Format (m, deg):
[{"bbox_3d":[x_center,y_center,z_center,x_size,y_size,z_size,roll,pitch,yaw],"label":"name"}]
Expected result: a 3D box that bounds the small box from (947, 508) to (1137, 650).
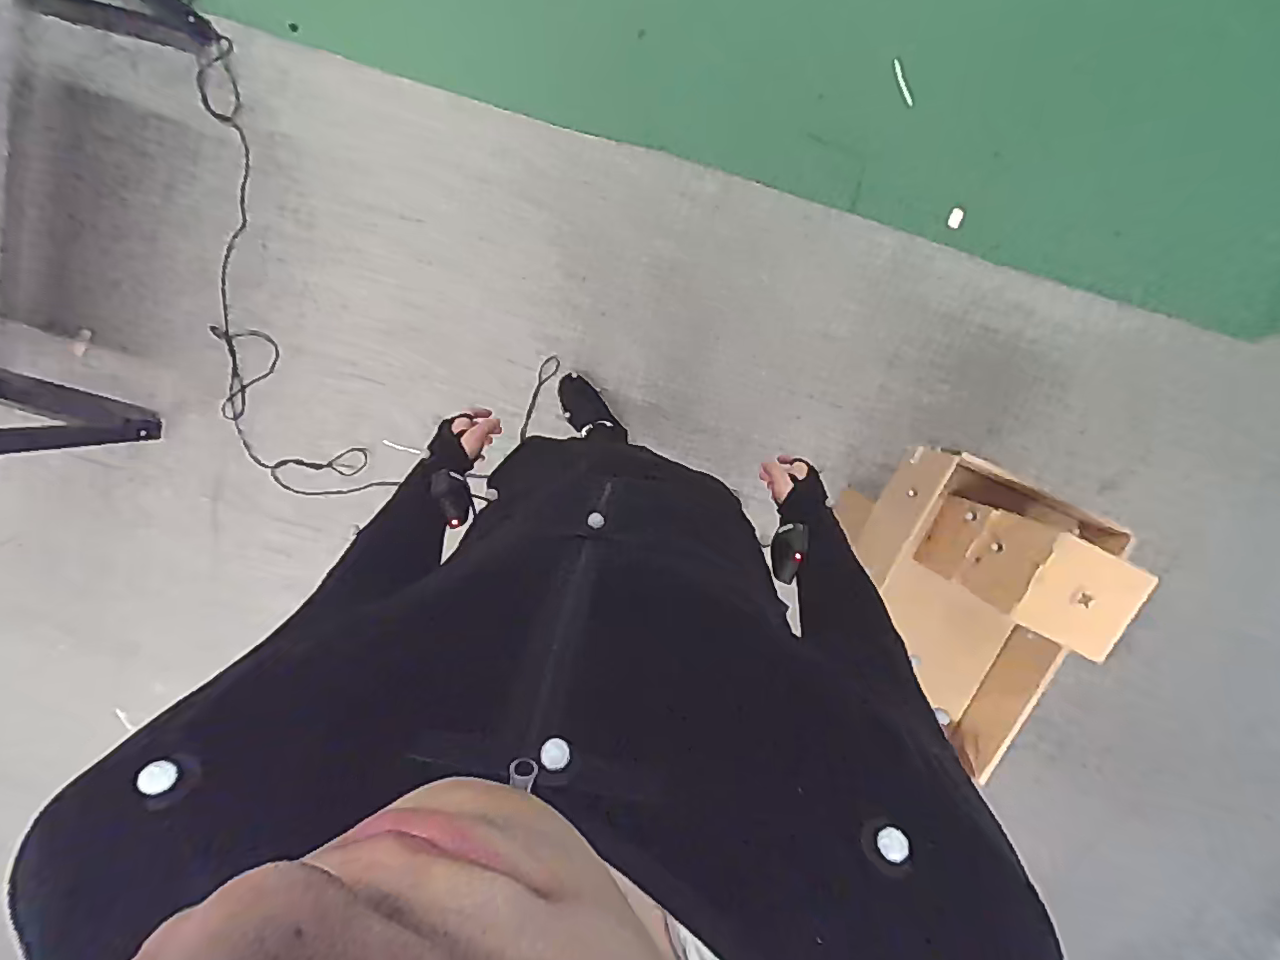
[{"bbox_3d":[0.710,0.168,0.978,0.179,0.176,0.168,26,101,-3],"label":"small box"}]
